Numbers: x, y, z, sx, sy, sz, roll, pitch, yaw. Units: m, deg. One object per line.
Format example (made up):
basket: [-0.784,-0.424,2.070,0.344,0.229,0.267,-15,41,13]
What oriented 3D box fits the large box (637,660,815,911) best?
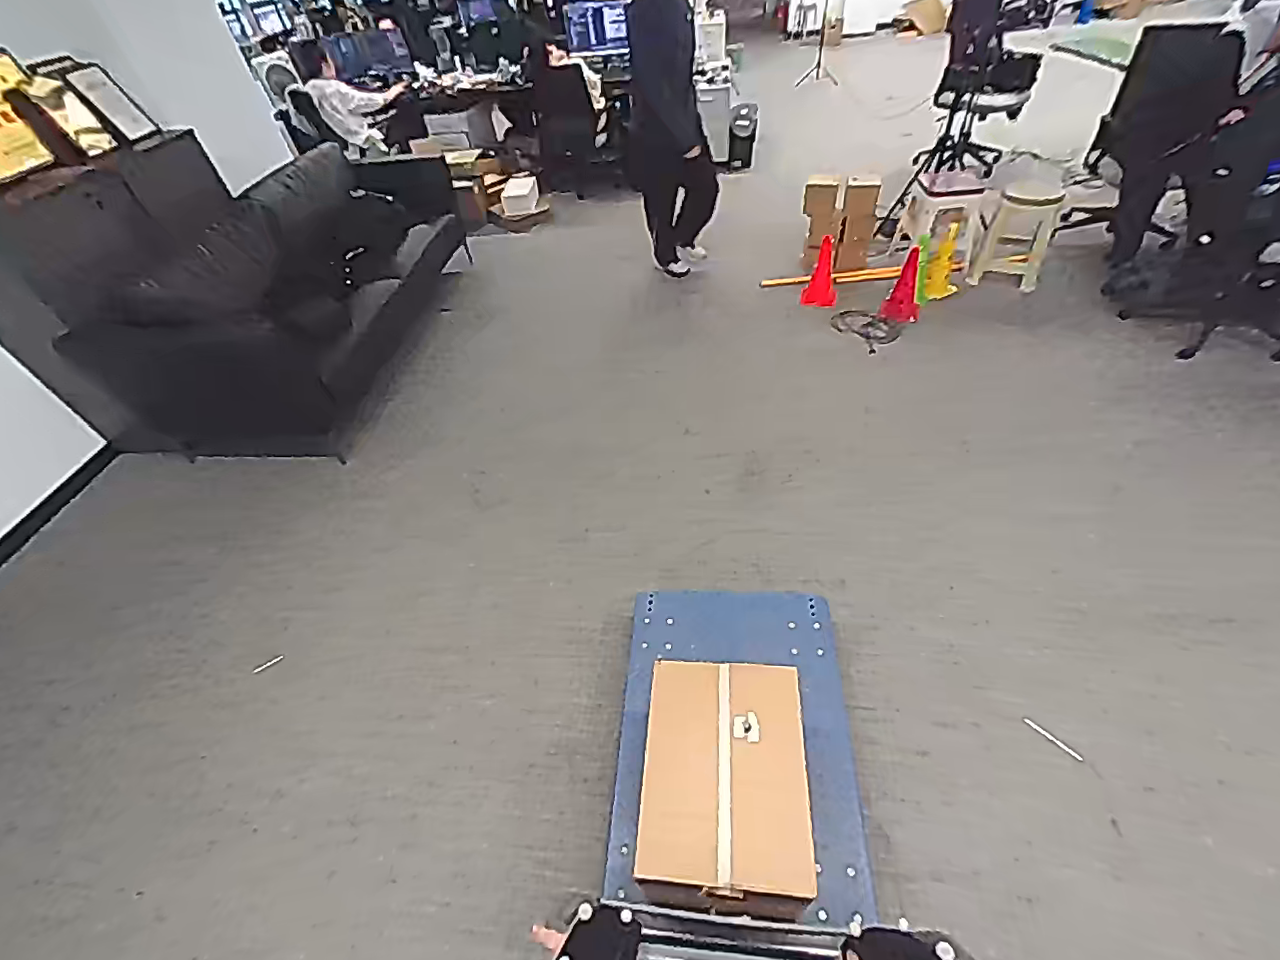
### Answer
large box: [0.181,0.655,1.177,0.320,0.320,0.408,0,45,9]
